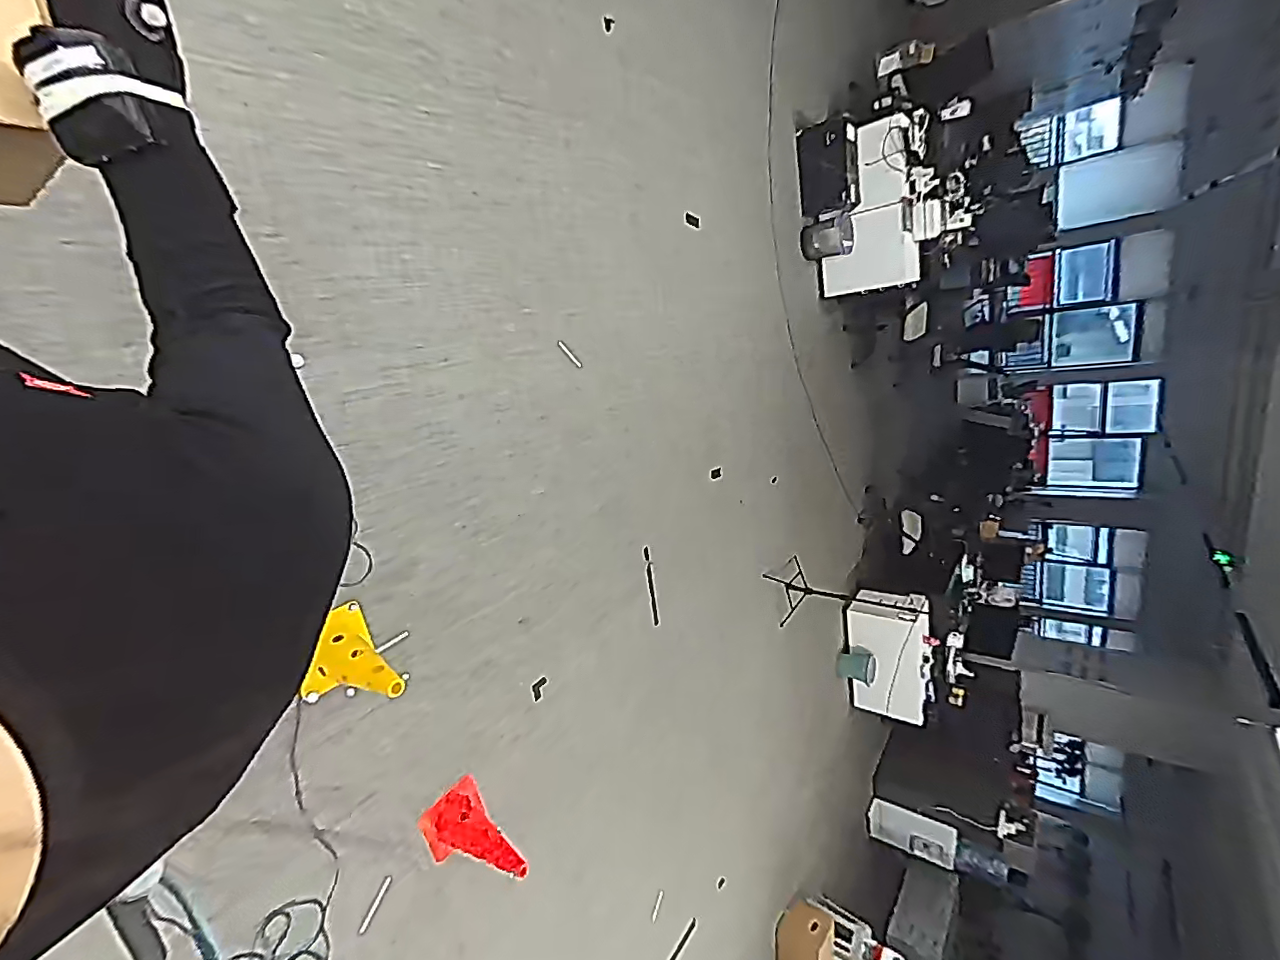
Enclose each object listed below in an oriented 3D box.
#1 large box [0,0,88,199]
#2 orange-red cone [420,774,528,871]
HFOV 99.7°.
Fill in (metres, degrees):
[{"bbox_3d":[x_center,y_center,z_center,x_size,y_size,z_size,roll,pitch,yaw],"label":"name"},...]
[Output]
[{"bbox_3d":[-0.629,-0.352,0.266,0.408,0.320,0.320,-25,118,-50],"label":"large box"},{"bbox_3d":[-0.473,1.093,1.649,0.198,0.360,0.199,-31,115,-47],"label":"orange-red cone"}]
